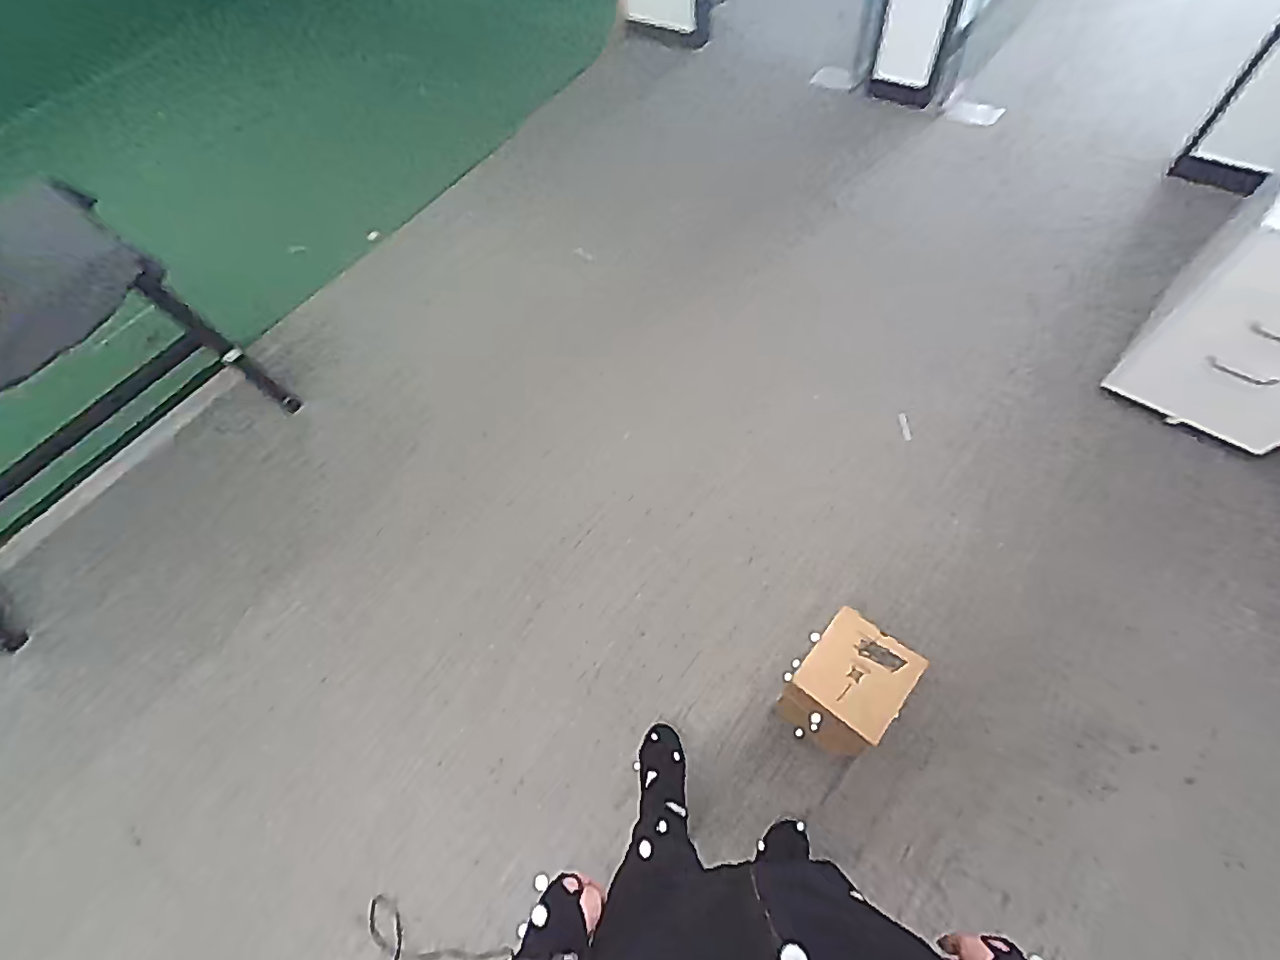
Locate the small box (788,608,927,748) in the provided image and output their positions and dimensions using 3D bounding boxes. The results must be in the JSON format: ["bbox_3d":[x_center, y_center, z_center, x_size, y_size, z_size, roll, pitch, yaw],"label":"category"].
[{"bbox_3d":[0.395,0.374,1.015,0.168,0.176,0.179,36,74,24],"label":"small box"}]

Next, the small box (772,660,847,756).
[{"bbox_3d":[0.439,0.532,1.297,0.179,0.176,0.168,36,73,23],"label":"small box"}]

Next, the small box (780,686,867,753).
[{"bbox_3d":[0.419,0.458,1.155,0.179,0.176,0.168,34,73,21],"label":"small box"}]
